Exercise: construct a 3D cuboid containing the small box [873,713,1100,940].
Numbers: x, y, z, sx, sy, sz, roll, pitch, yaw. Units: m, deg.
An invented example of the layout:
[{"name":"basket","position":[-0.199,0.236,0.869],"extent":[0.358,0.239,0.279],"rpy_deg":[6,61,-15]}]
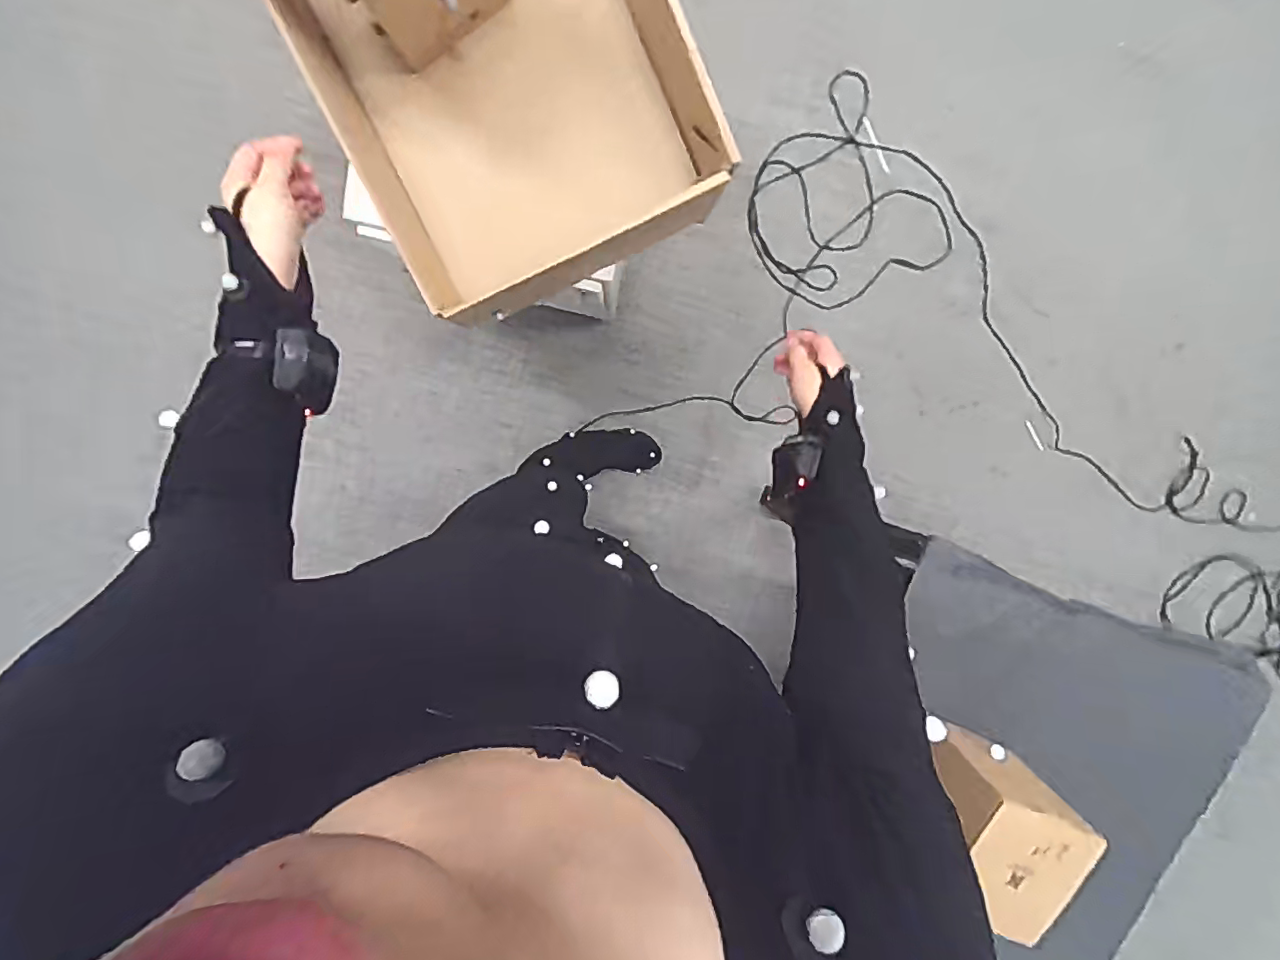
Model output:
[{"name":"small box","position":[0.458,0.468,0.752],"extent":[0.168,0.176,0.179],"rpy_deg":[26,98,-9]}]
